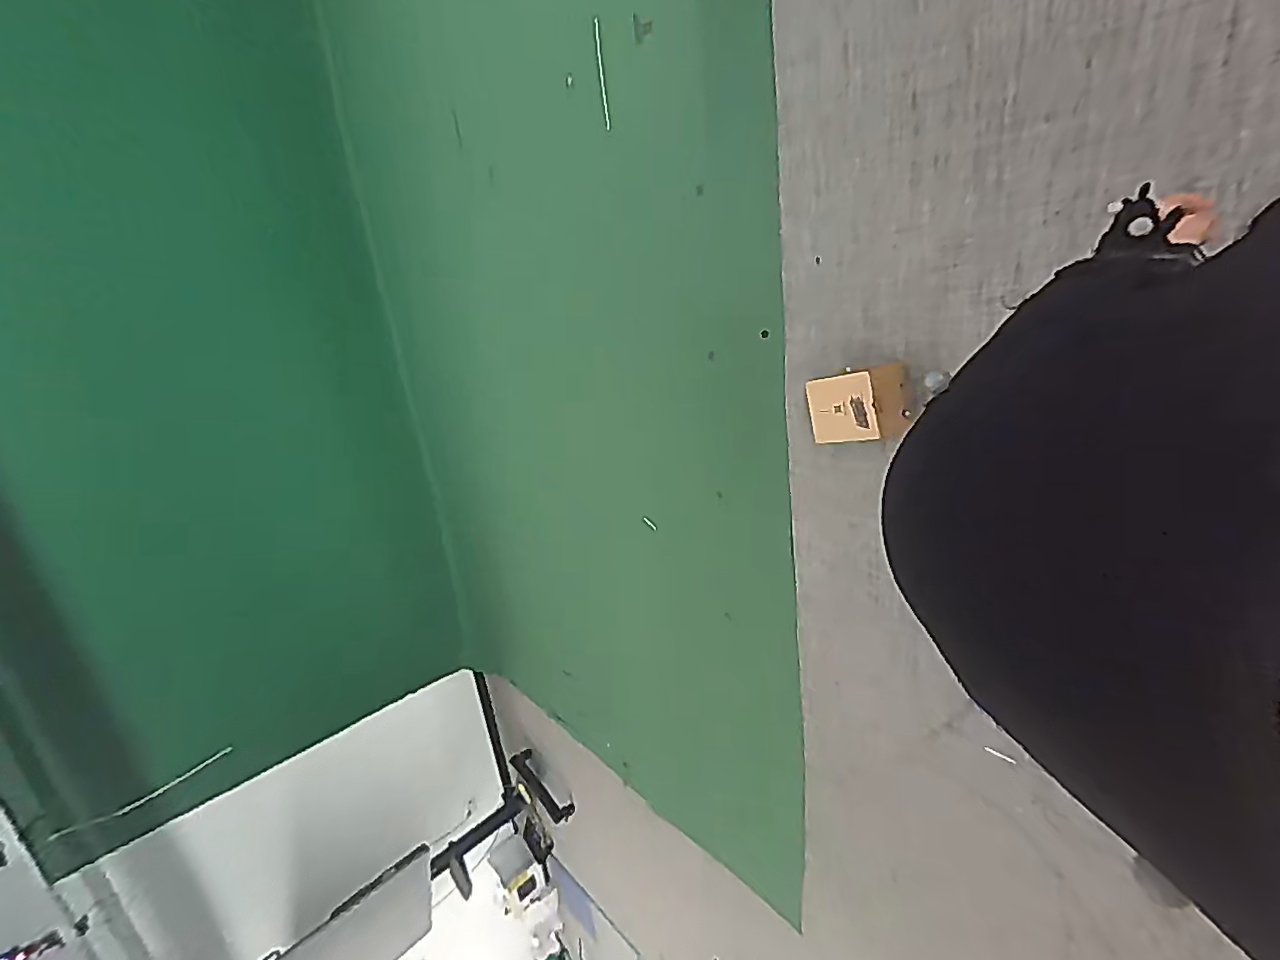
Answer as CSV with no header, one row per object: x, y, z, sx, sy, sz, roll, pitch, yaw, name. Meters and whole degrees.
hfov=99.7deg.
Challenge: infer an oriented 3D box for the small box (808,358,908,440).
0.561,-0.206,1.374,0.179,0.176,0.168,-1,105,51,small box
